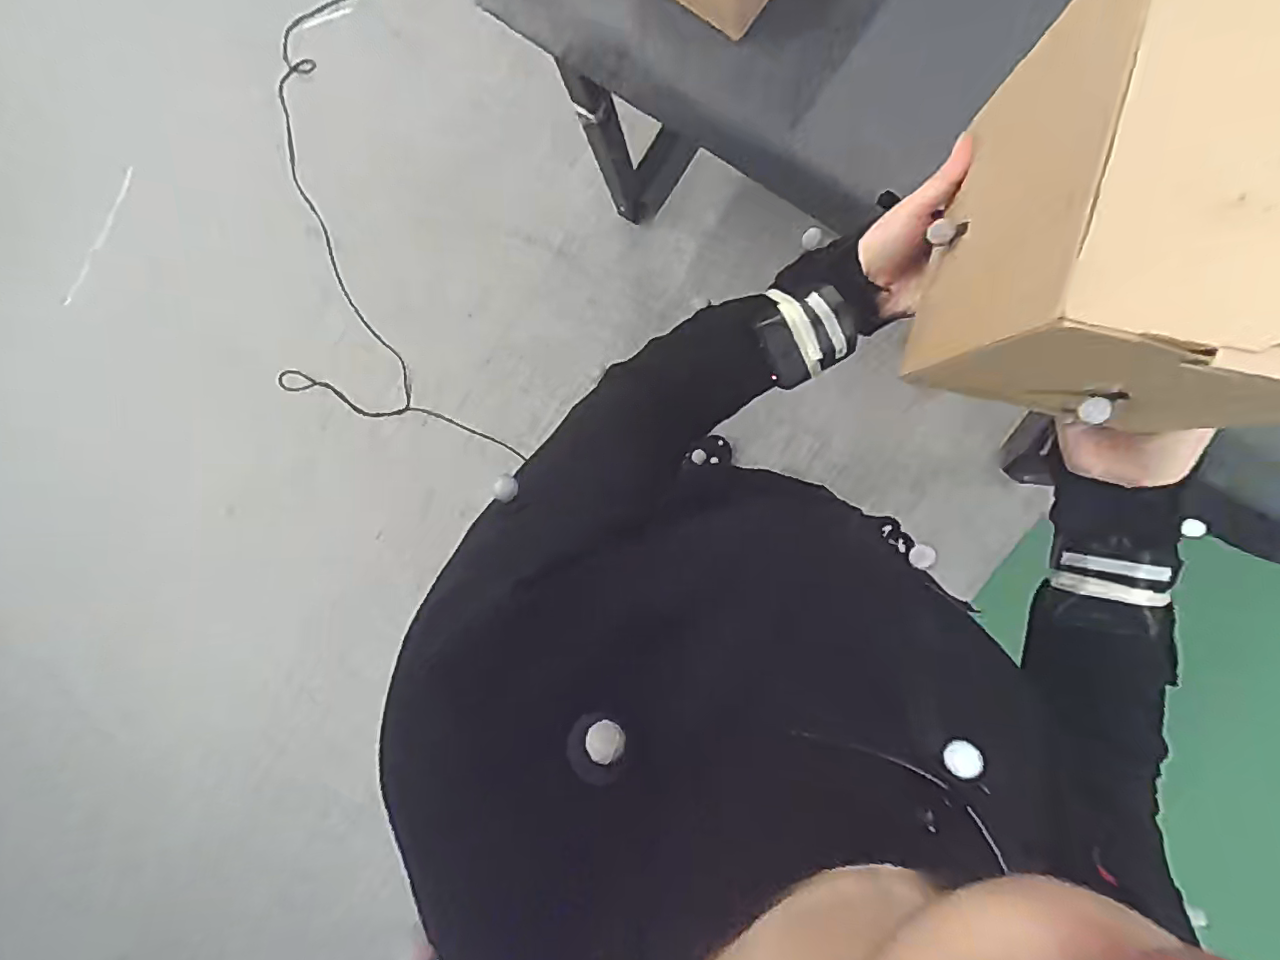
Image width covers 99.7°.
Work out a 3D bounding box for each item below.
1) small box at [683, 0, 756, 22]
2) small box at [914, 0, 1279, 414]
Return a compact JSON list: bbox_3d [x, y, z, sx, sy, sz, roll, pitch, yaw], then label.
[{"bbox_3d":[0.080,-0.605,0.519,0.179,0.176,0.168,38,95,4],"label":"small box"},{"bbox_3d":[0.270,-0.136,0.282,0.168,0.176,0.179,13,94,5],"label":"small box"}]
